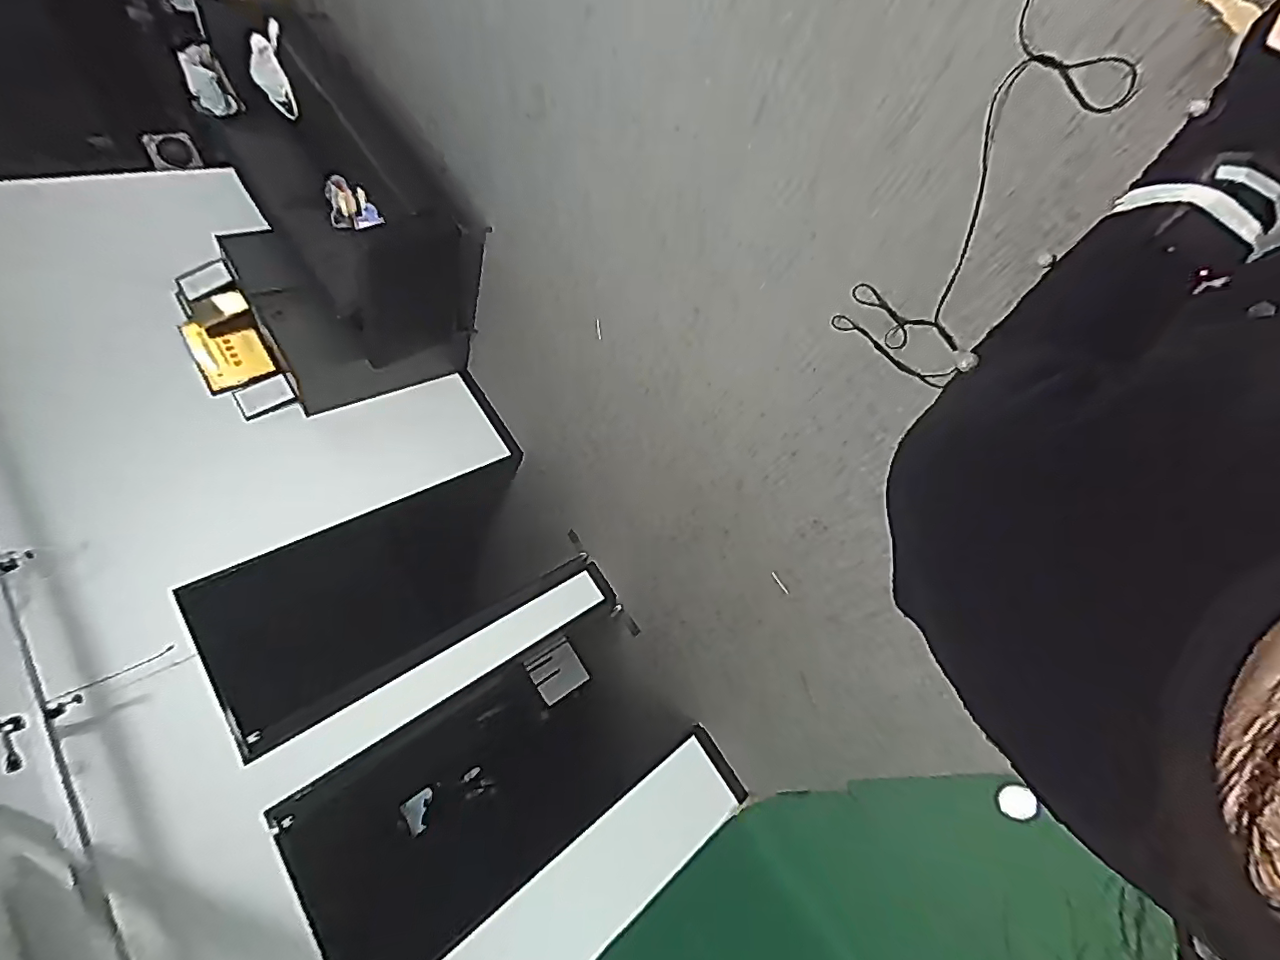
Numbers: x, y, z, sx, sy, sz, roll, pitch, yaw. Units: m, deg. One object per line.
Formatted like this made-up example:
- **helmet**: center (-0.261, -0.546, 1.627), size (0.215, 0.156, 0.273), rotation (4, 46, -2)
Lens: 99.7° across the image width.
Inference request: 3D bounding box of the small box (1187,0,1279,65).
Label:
- **small box**: center (0.949, -0.731, 0.768), size (0.168, 0.176, 0.179), rotation (56, 146, 10)
